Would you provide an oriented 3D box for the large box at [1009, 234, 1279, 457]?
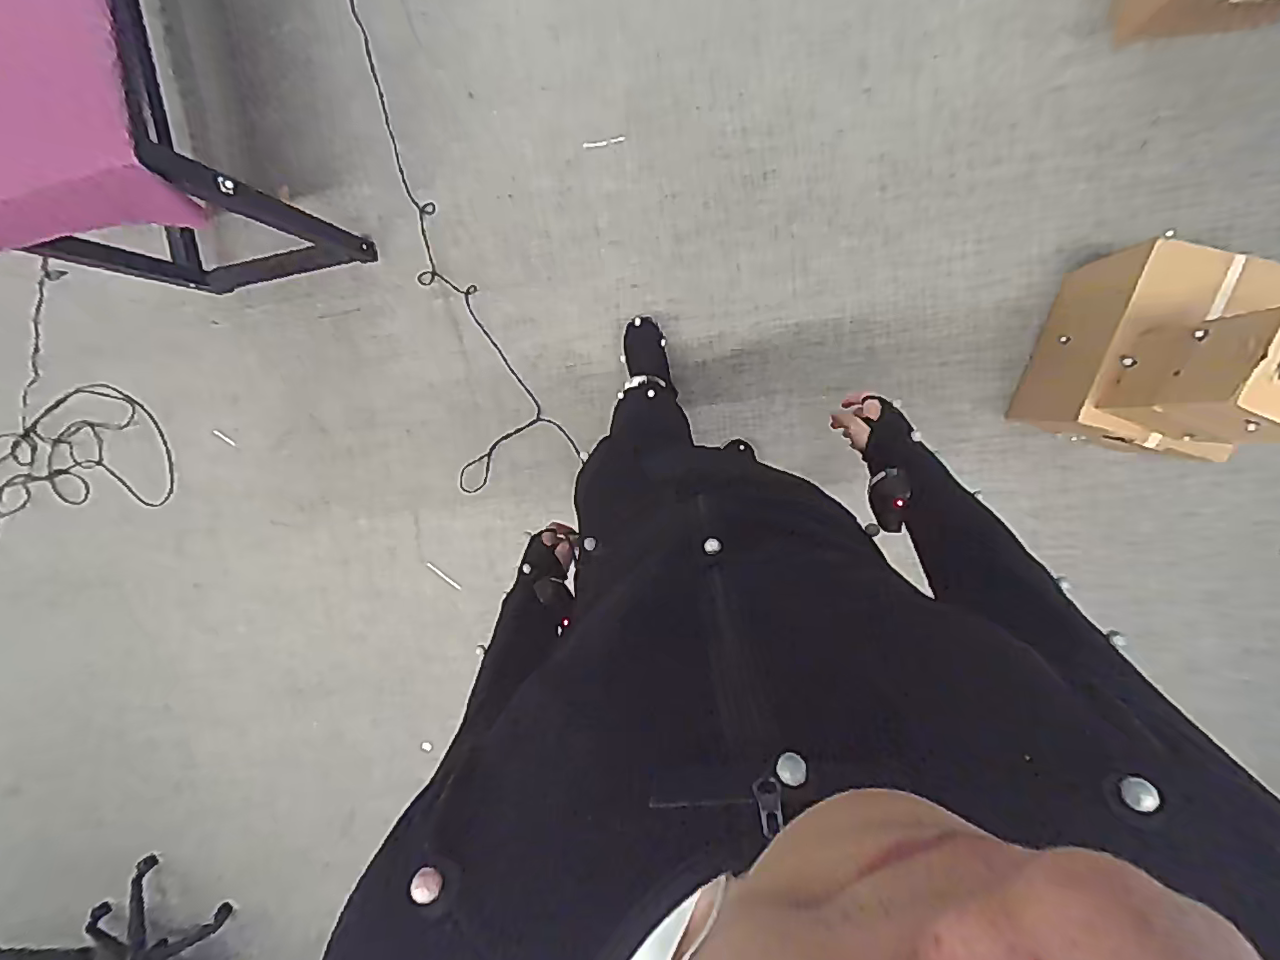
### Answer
[{"bbox_3d":[1.169,-0.296,1.277,0.320,0.320,0.408,17,100,5],"label":"large box"}]

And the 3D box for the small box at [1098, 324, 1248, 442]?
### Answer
[{"bbox_3d":[1.071,-0.188,1.057,0.179,0.176,0.168,24,101,6],"label":"small box"}]

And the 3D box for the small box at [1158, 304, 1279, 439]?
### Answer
[{"bbox_3d":[1.041,-0.170,0.897,0.179,0.176,0.168,24,101,4],"label":"small box"}]
